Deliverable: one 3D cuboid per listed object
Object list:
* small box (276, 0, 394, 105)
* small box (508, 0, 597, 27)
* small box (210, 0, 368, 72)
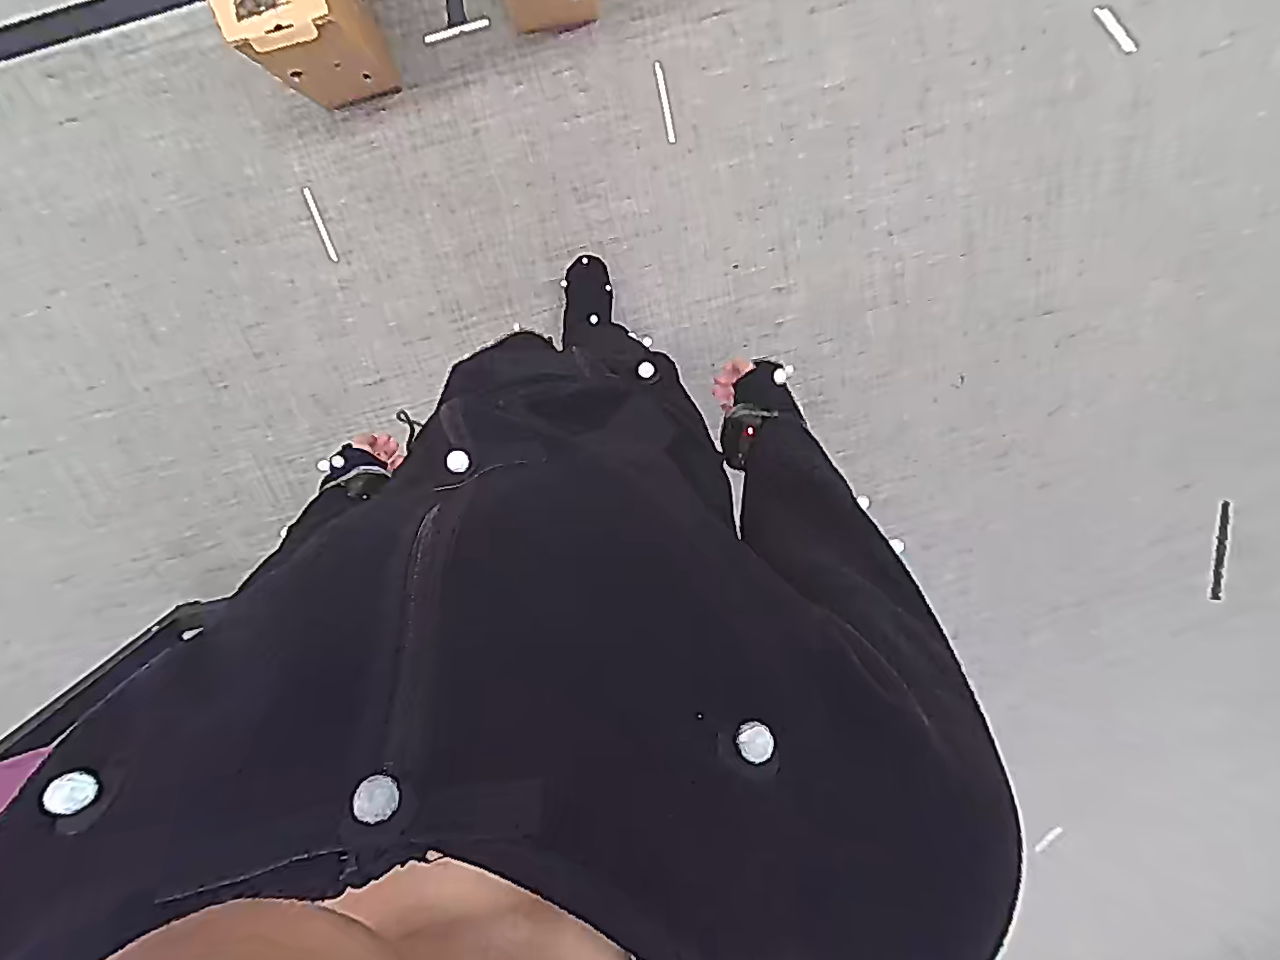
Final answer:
[{"bbox_3d":[-0.586,-0.838,1.007,0.179,0.176,0.168,-17,110,2],"label":"small box"},{"bbox_3d":[-0.172,-0.978,0.994,0.179,0.176,0.168,-11,111,-2],"label":"small box"},{"bbox_3d":[-0.566,-0.782,0.854,0.168,0.176,0.179,-15,109,0],"label":"small box"}]
